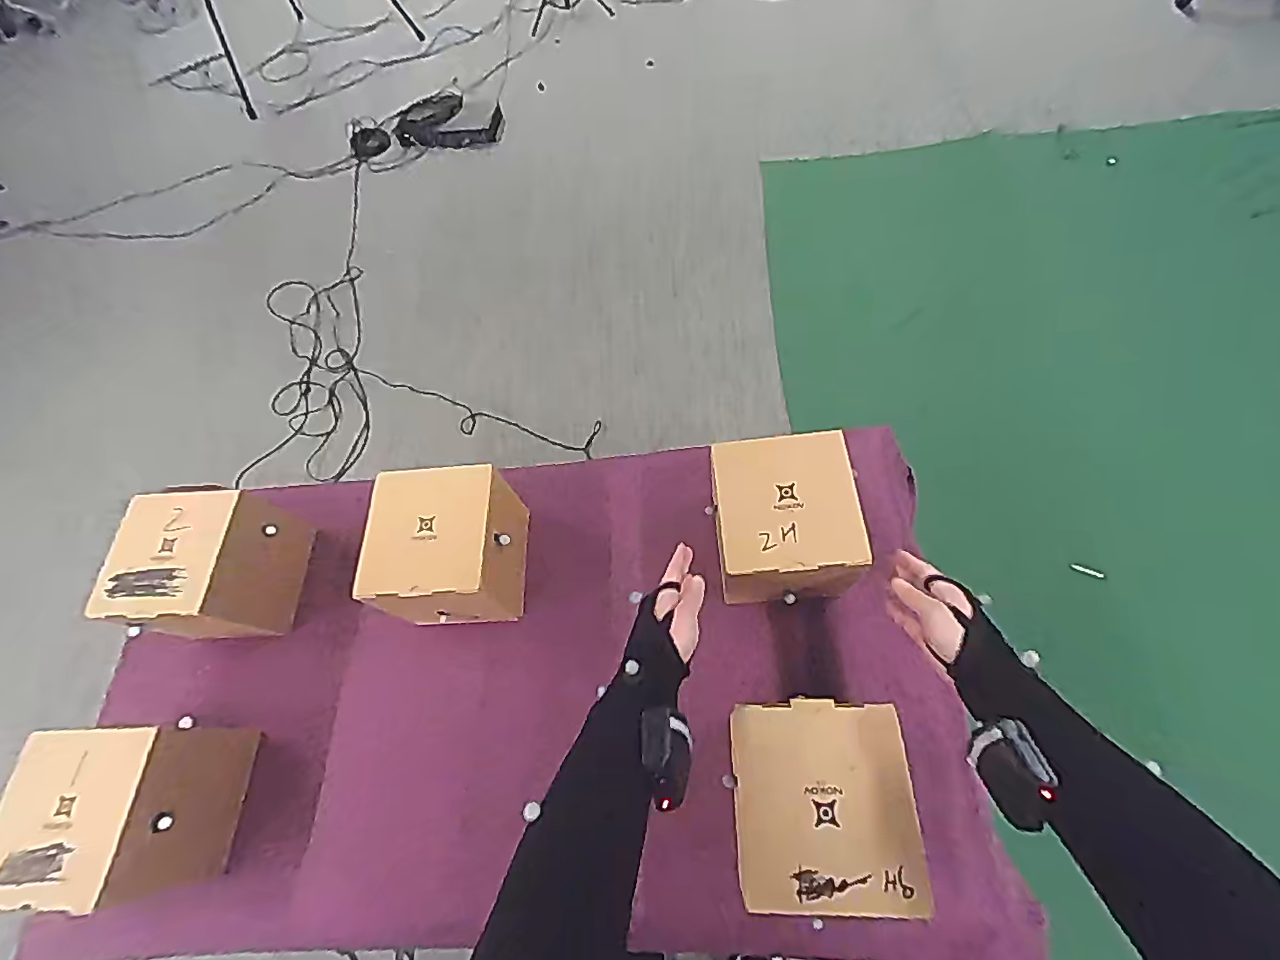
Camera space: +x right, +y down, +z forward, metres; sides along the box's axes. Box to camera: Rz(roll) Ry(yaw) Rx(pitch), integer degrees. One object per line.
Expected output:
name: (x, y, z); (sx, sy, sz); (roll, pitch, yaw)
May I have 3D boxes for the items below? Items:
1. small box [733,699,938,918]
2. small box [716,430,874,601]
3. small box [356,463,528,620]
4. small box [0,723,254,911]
small box: (0.189, 0.342, 0.585); (0.168, 0.176, 0.179); (-3, 62, 7)
small box: (0.191, 0.055, 0.723); (0.168, 0.176, 0.179); (-6, 66, 6)
small box: (-0.263, 0.092, 0.767); (0.168, 0.176, 0.179); (-4, 65, 5)
small box: (-0.623, 0.396, 0.661); (0.168, 0.176, 0.179); (-3, 63, 5)
